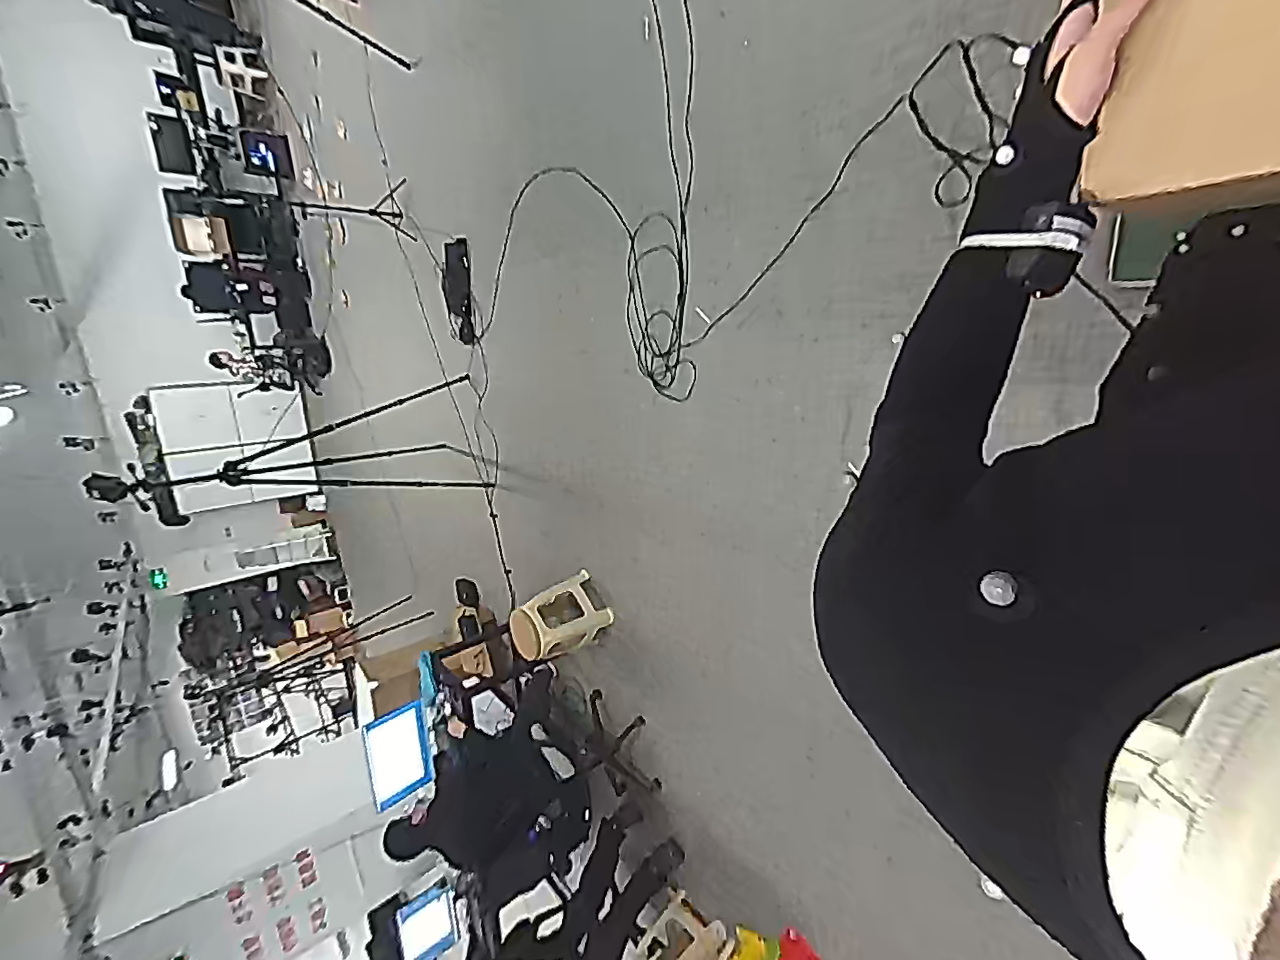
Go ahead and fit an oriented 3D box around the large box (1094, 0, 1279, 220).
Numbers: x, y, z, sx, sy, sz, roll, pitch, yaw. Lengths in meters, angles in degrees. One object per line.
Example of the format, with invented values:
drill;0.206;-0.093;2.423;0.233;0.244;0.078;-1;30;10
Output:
large box;0.599;-0.393;0.361;0.408;0.320;0.320;11;113;47
